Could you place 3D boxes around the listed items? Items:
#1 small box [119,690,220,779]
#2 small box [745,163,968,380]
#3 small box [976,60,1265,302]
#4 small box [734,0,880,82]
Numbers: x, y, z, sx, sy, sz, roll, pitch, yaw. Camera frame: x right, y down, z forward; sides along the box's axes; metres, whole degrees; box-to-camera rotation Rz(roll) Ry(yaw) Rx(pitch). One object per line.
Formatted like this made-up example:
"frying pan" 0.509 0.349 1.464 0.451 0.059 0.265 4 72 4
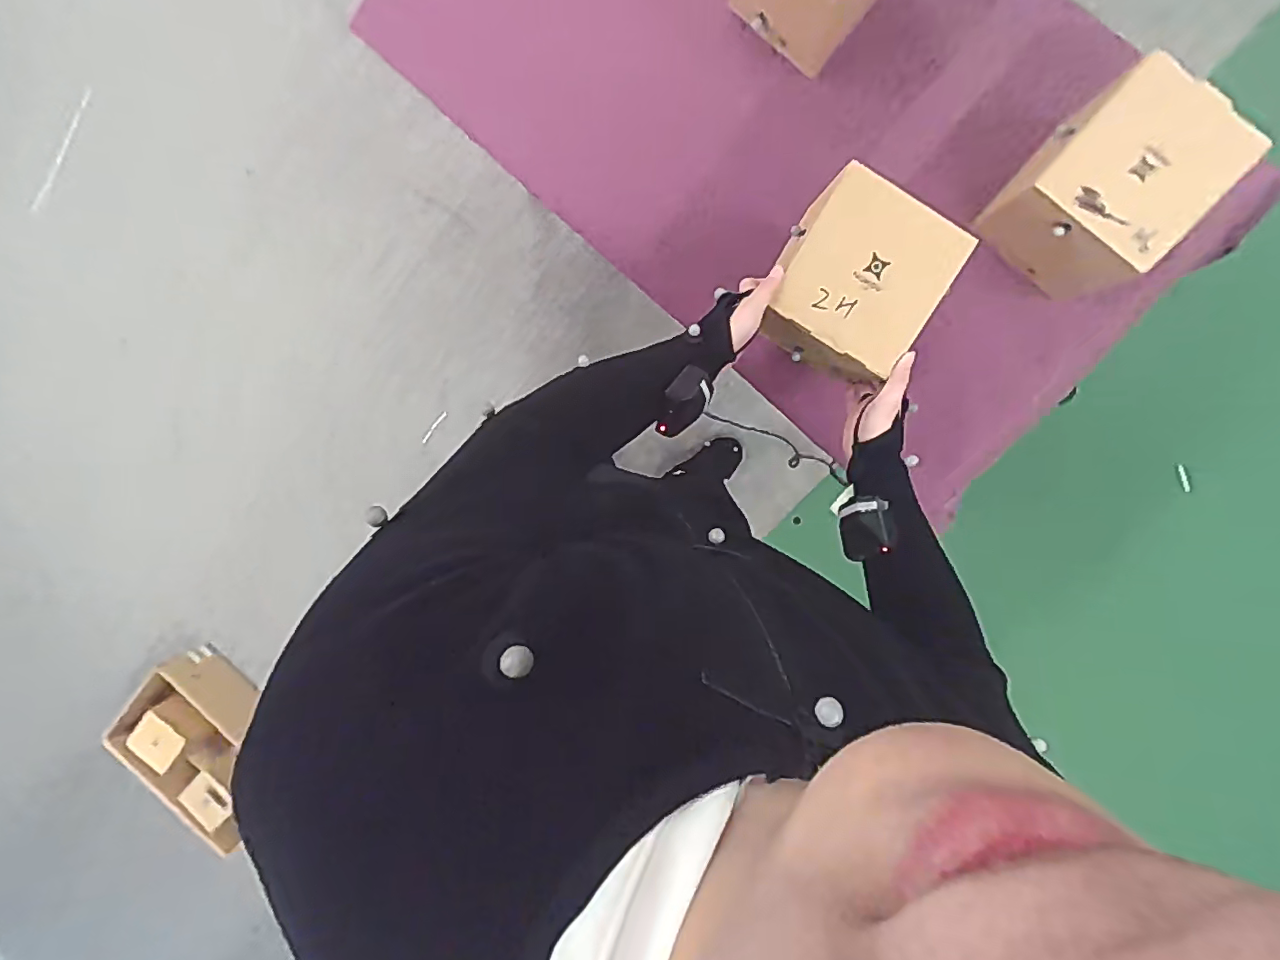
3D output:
"small box" -1.605 0.867 1.855 0.168 0.176 0.179 40 100 1
"small box" 0.248 -0.240 0.672 0.168 0.176 0.179 30 100 -3
"small box" 0.579 -0.356 0.684 0.168 0.176 0.179 41 101 2
"small box" 0.232 -0.678 0.692 0.168 0.176 0.179 42 102 1
